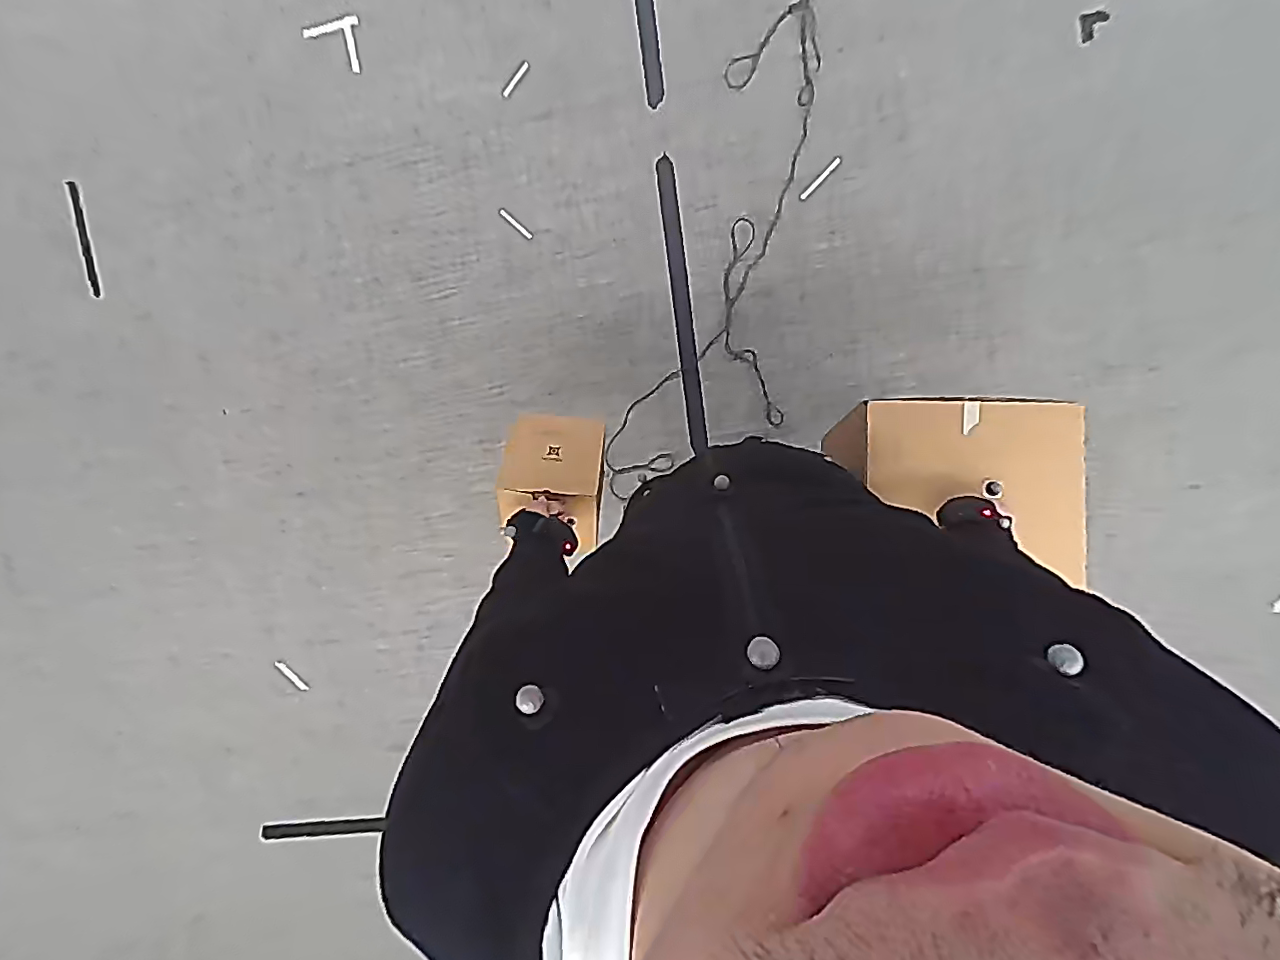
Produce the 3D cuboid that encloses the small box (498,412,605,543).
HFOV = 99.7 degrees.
[{"bbox_3d":[-0.153,0.001,0.994,0.168,0.176,0.179,5,53,-3],"label":"small box"}]
